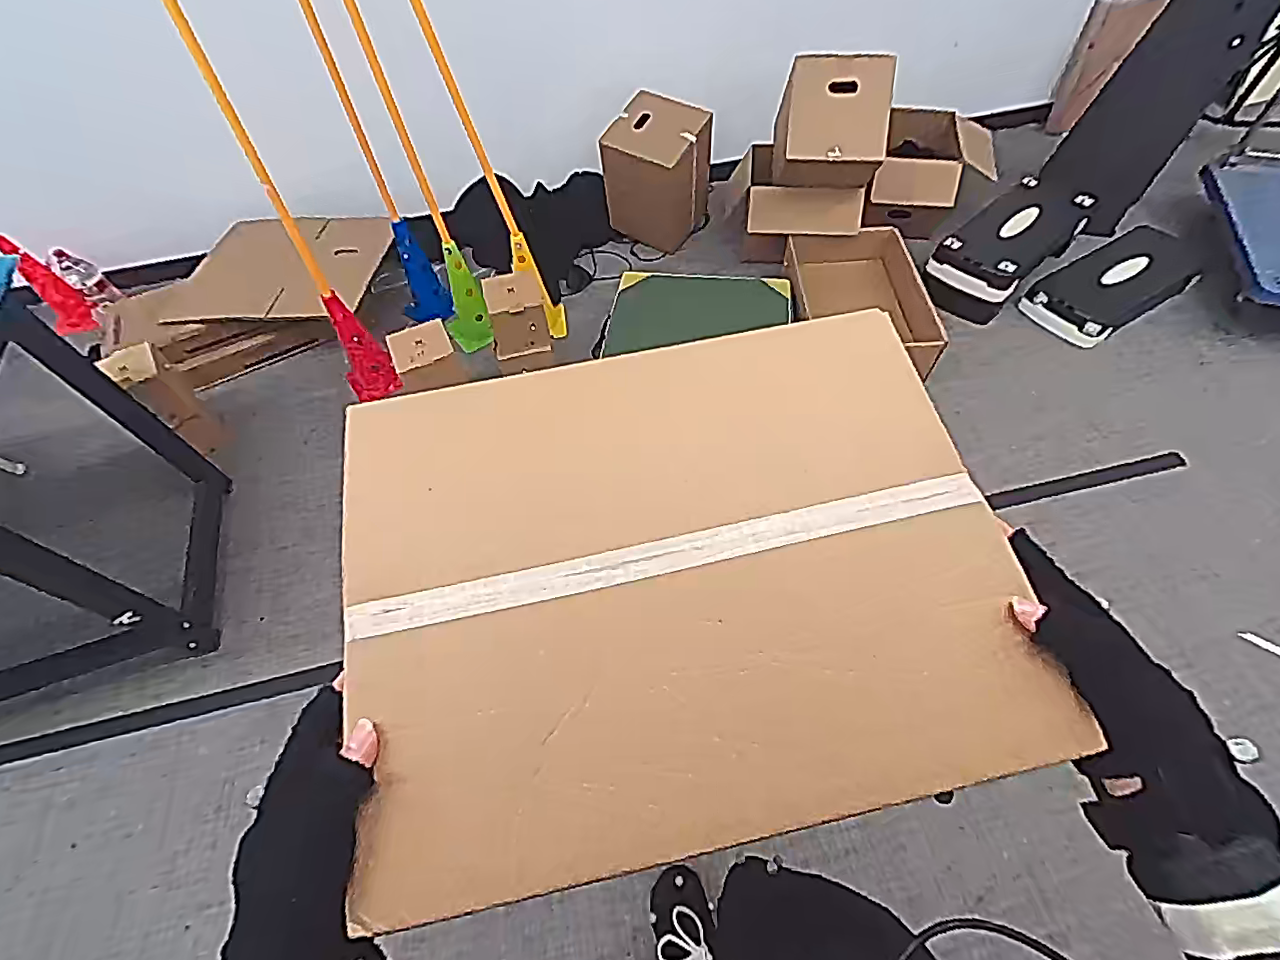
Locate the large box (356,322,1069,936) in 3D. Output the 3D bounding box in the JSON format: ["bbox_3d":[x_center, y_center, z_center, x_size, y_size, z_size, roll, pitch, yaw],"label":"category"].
[{"bbox_3d":[0.025,0.113,0.485,0.408,0.320,0.320,-12,66,-4],"label":"large box"}]
